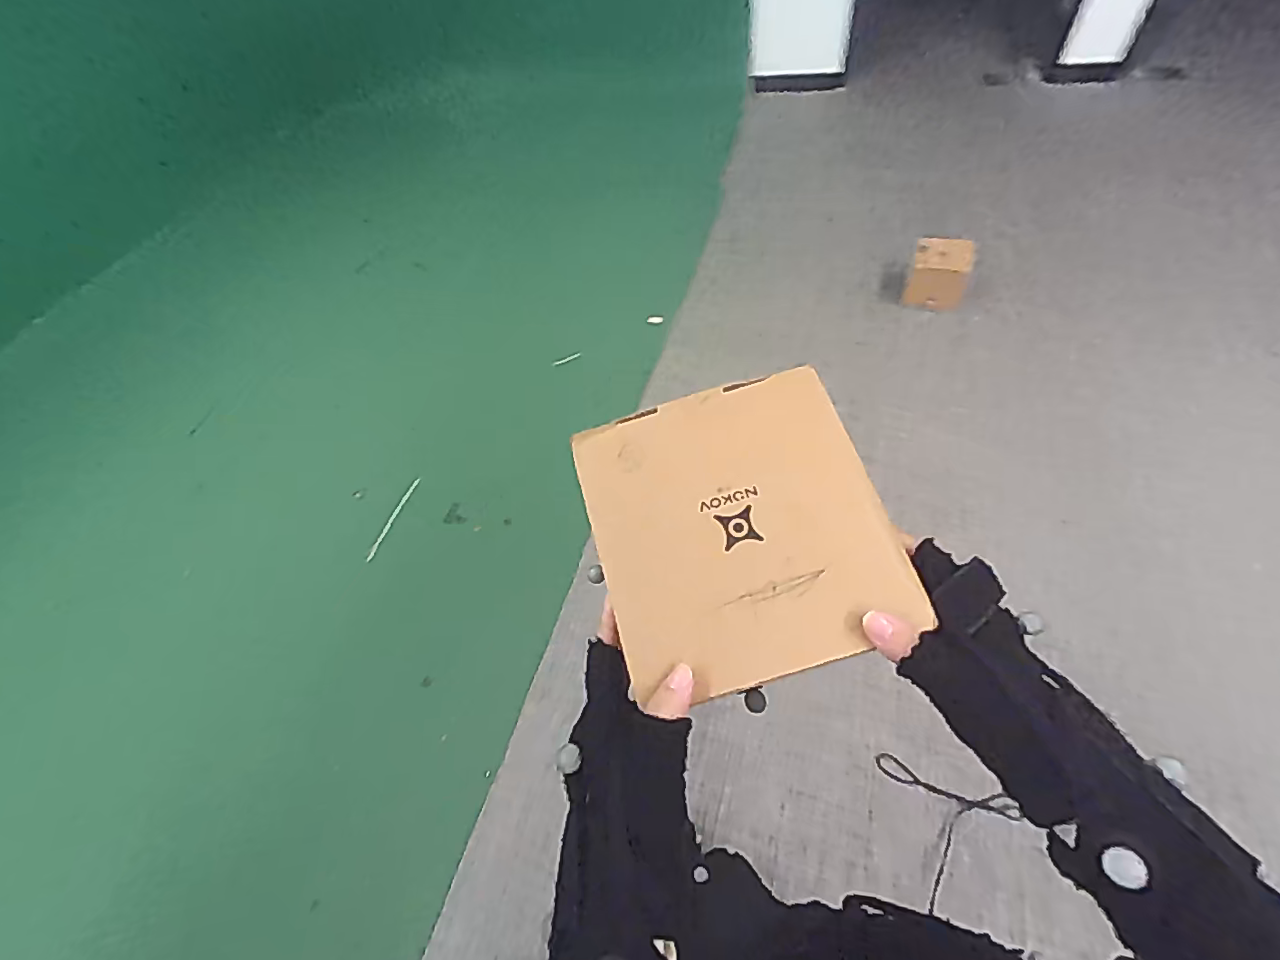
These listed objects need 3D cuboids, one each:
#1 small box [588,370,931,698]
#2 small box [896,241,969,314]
[{"bbox_3d":[0.068,0.052,0.400,0.168,0.176,0.179,-15,68,0],"label":"small box"},{"bbox_3d":[1.023,-0.707,1.895,0.179,0.176,0.168,15,61,18],"label":"small box"}]
